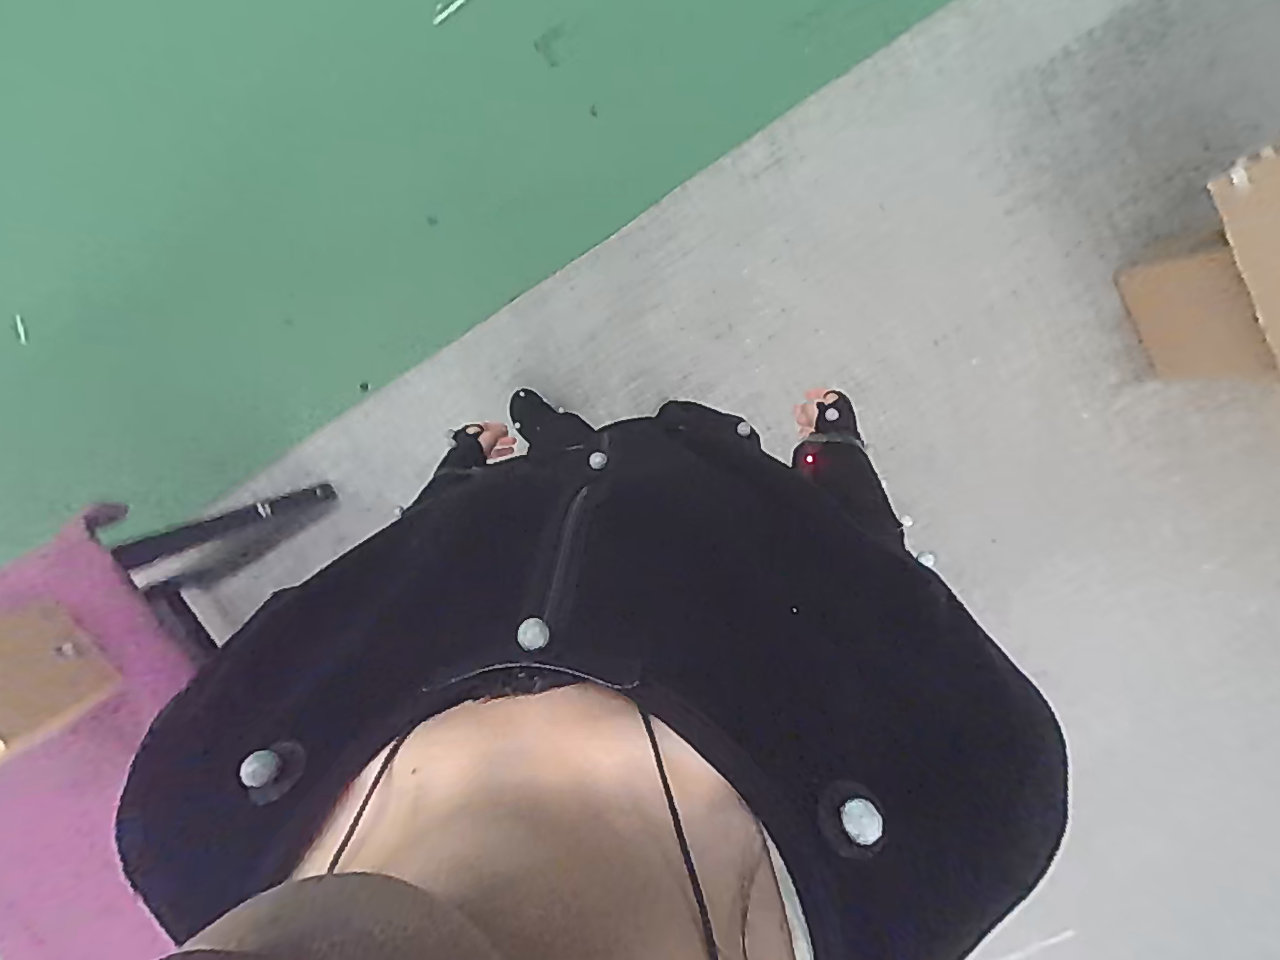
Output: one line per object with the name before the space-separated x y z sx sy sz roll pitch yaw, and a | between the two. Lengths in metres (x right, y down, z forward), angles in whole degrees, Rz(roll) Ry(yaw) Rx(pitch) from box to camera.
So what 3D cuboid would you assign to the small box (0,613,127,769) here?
small box | -0.944 0.321 0.799 0.168 0.176 0.179 -34 97 8
